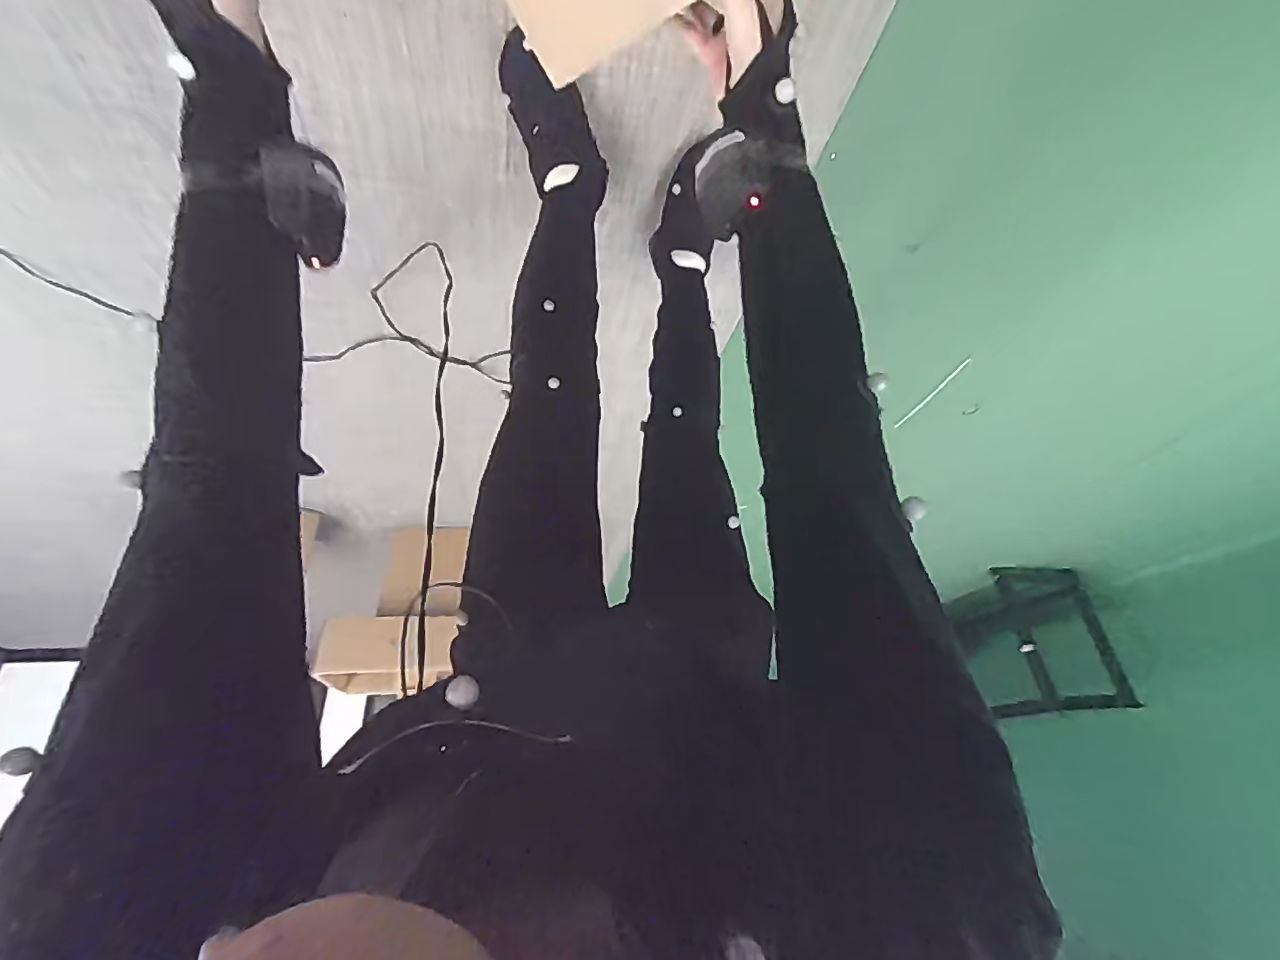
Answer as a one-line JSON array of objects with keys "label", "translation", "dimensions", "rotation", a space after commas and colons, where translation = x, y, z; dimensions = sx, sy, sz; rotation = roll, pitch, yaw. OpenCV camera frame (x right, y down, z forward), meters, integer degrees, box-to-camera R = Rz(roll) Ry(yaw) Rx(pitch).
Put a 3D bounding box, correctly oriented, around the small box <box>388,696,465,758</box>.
[{"label": "small box", "translation": [-0.724, 0.849, 1.852], "dimensions": [0.179, 0.176, 0.168], "rotation": [-13, 149, 13]}]
